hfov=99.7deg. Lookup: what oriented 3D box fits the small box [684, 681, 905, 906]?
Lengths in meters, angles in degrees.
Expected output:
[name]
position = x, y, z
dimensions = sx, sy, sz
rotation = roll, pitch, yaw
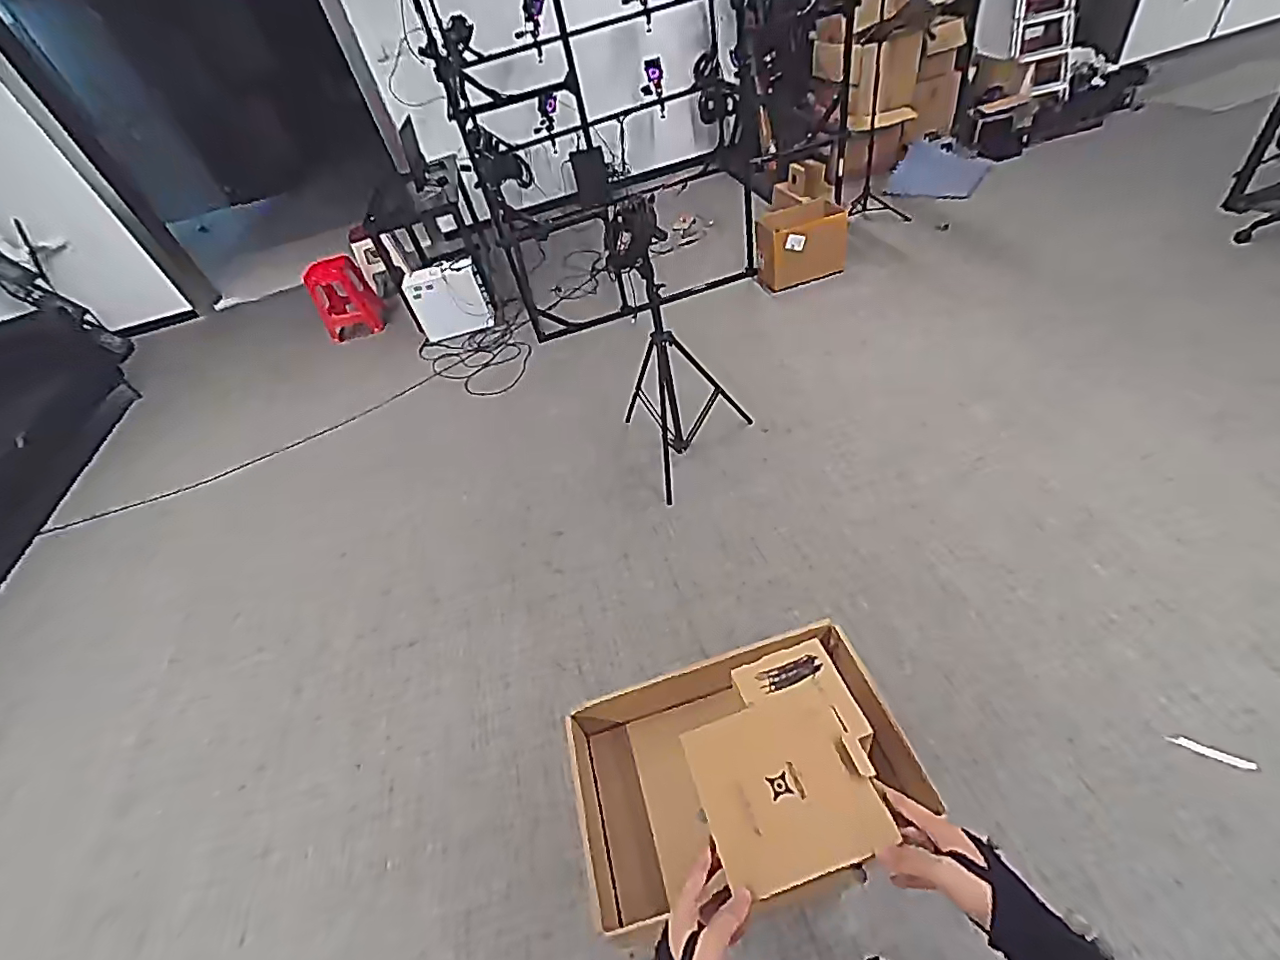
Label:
[small box]
position = 0.165, 0.361, 0.622
dimensions = 0.179, 0.176, 0.168
rotation = -20, 50, -2
